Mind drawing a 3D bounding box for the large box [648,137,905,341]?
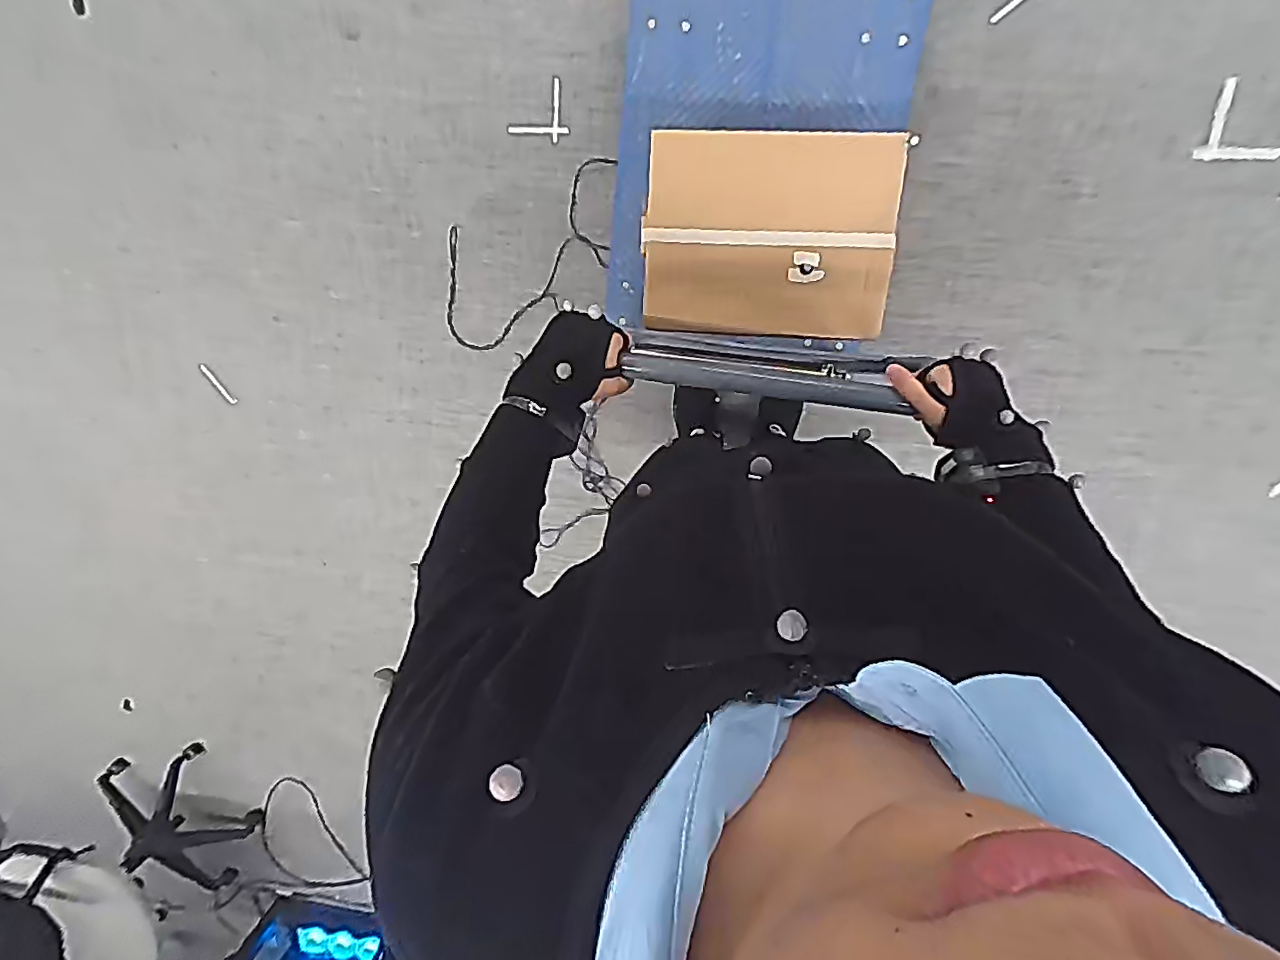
[{"bbox_3d":[0.228,-0.435,1.045,0.408,0.320,0.320,4,106,4],"label":"large box"}]
